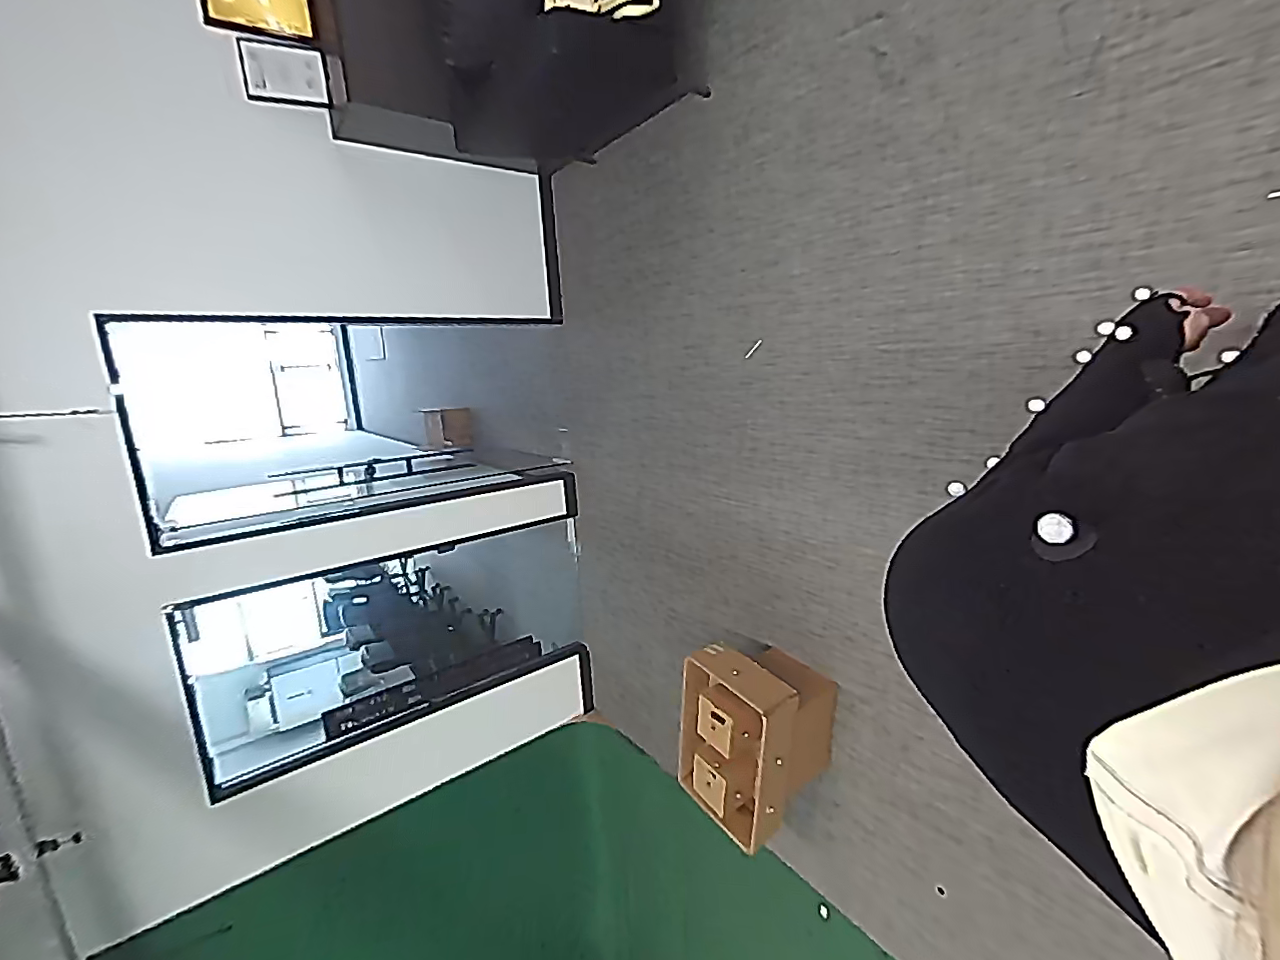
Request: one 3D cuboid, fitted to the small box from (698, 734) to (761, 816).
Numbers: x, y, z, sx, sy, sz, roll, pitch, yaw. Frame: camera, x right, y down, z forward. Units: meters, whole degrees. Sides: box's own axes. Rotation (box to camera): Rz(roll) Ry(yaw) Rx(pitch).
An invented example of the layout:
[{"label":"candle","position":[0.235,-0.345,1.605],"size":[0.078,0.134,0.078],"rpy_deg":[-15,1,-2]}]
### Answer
[{"label":"small box","position":[0.338,1.105,2.036],"size":[0.168,0.176,0.179],"rpy_deg":[23,118,50]}]
